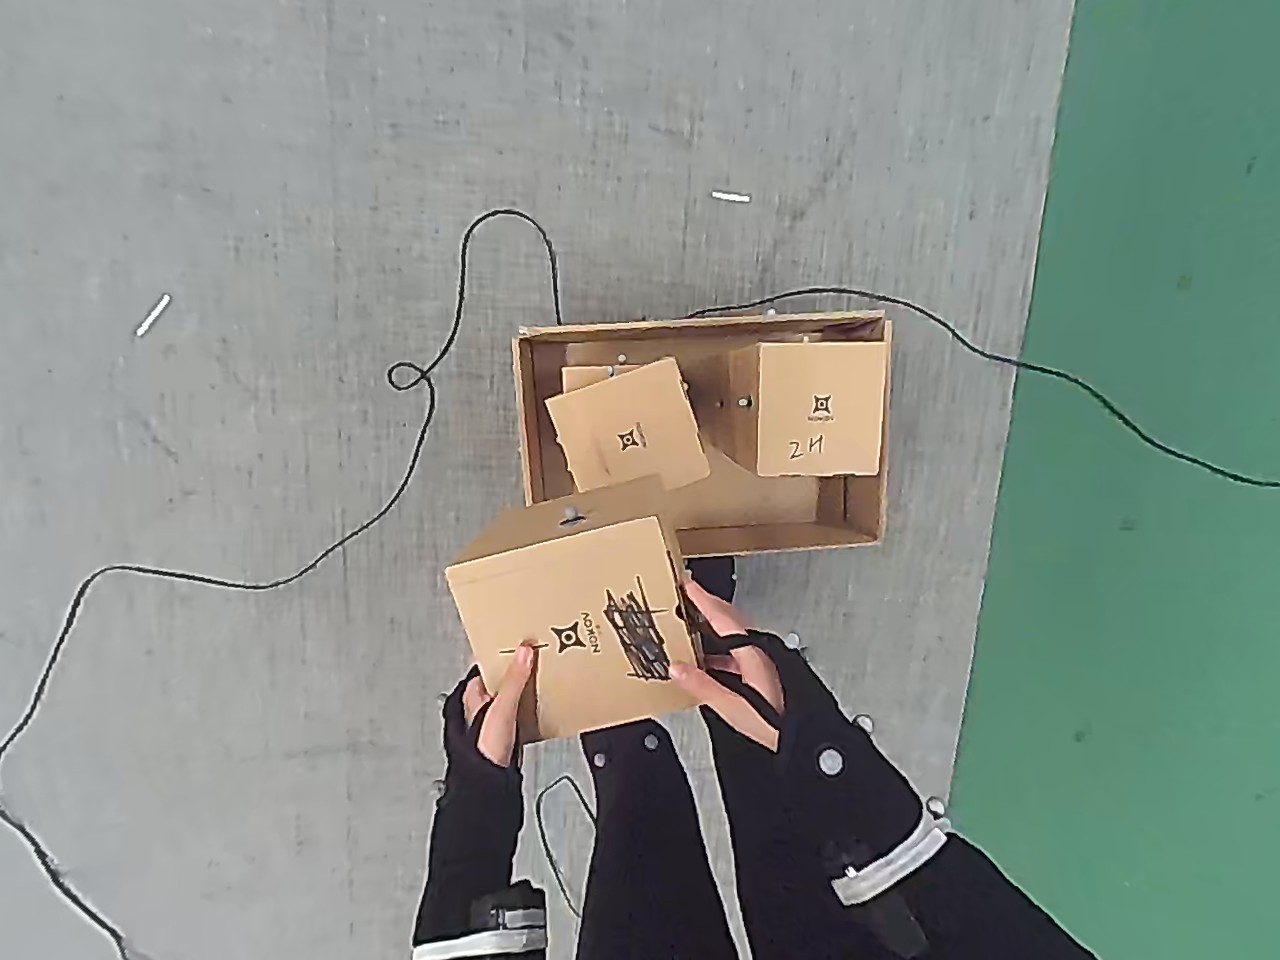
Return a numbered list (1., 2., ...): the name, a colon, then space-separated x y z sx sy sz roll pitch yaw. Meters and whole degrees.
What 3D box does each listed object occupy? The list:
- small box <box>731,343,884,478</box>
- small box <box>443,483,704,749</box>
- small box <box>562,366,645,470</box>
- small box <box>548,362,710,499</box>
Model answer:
1. small box: 0.229 -0.101 0.780 0.168 0.176 0.179 -1 100 -2
2. small box: -0.048 0.111 0.507 0.179 0.176 0.168 -15 100 7
3. small box: -0.036 -0.110 0.935 0.179 0.176 0.168 -3 101 -3
4. small box: -0.018 -0.066 0.780 0.179 0.176 0.168 -19 101 0
